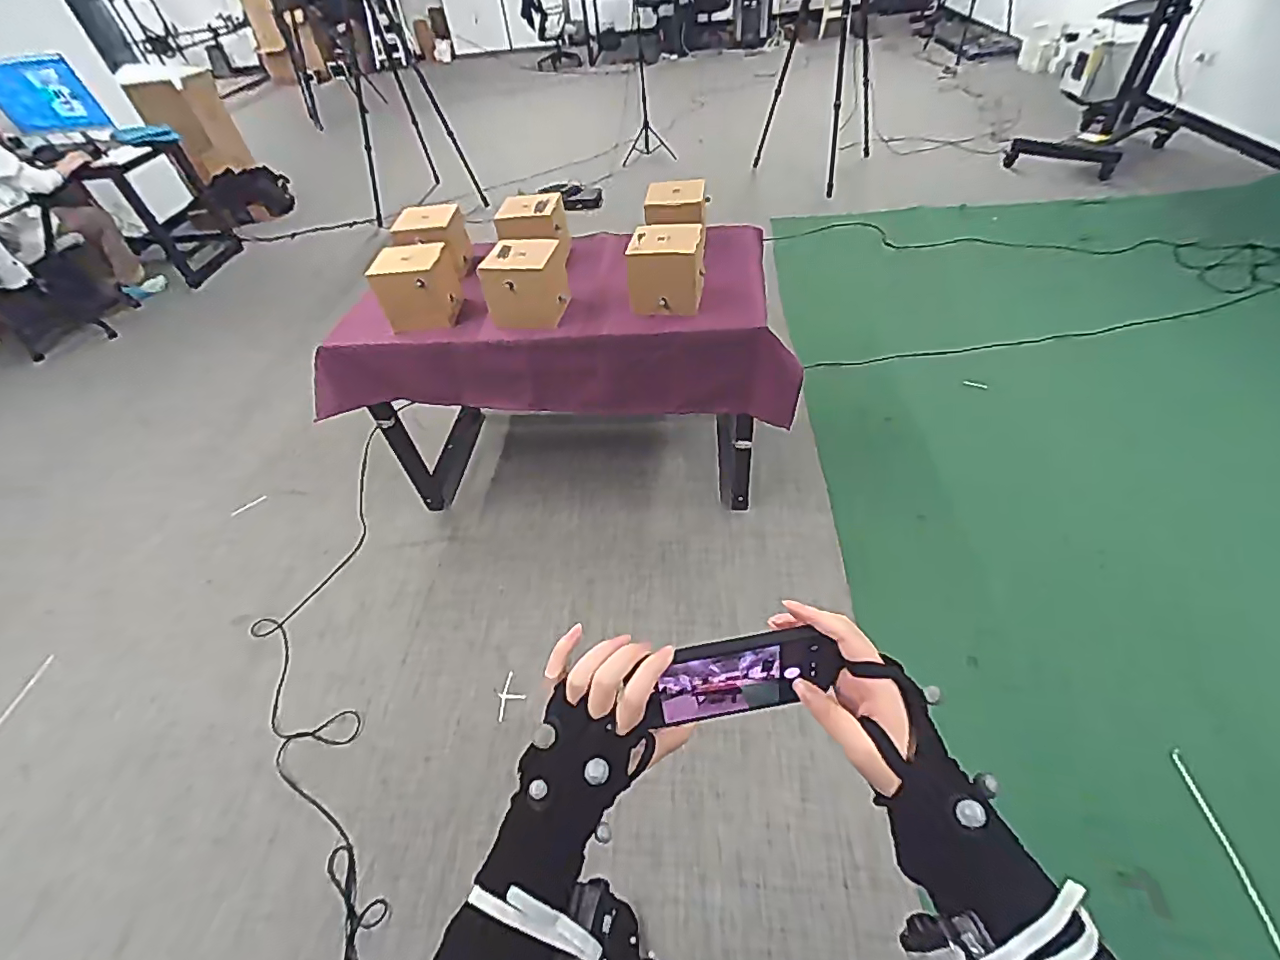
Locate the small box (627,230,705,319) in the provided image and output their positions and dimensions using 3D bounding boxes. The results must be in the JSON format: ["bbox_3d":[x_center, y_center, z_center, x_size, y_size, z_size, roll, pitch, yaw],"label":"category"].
[{"bbox_3d":[0.074,-0.539,1.423,0.179,0.176,0.168,5,47,11],"label":"small box"}]

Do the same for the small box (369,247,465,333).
[{"bbox_3d":[-0.606,-0.520,1.491,0.179,0.176,0.168,-4,46,2],"label":"small box"}]

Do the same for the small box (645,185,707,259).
[{"bbox_3d":[0.114,-0.768,1.633,0.168,0.176,0.179,2,48,10],"label":"small box"}]

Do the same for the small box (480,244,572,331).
[{"bbox_3d":[-0.296,-0.512,1.444,0.179,0.176,0.168,5,48,10],"label":"small box"}]
